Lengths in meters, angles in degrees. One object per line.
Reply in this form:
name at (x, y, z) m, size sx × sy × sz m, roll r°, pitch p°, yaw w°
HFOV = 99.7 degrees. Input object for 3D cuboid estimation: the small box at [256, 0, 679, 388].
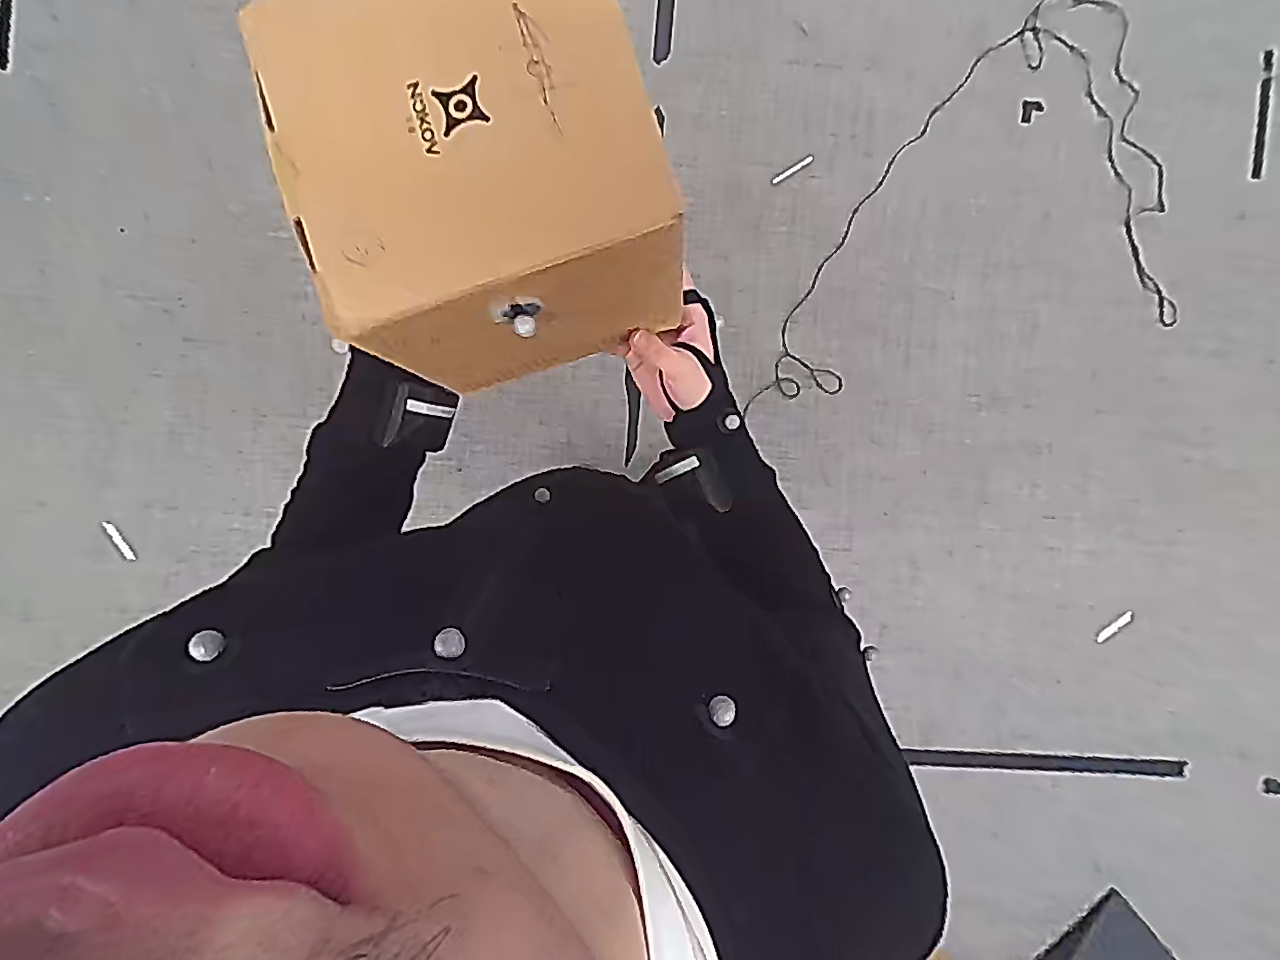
small box at (-0.081, -0.172, 0.342) m, size 0.179 × 0.176 × 0.168 m, roll -20°, pitch 88°, yaw 2°
